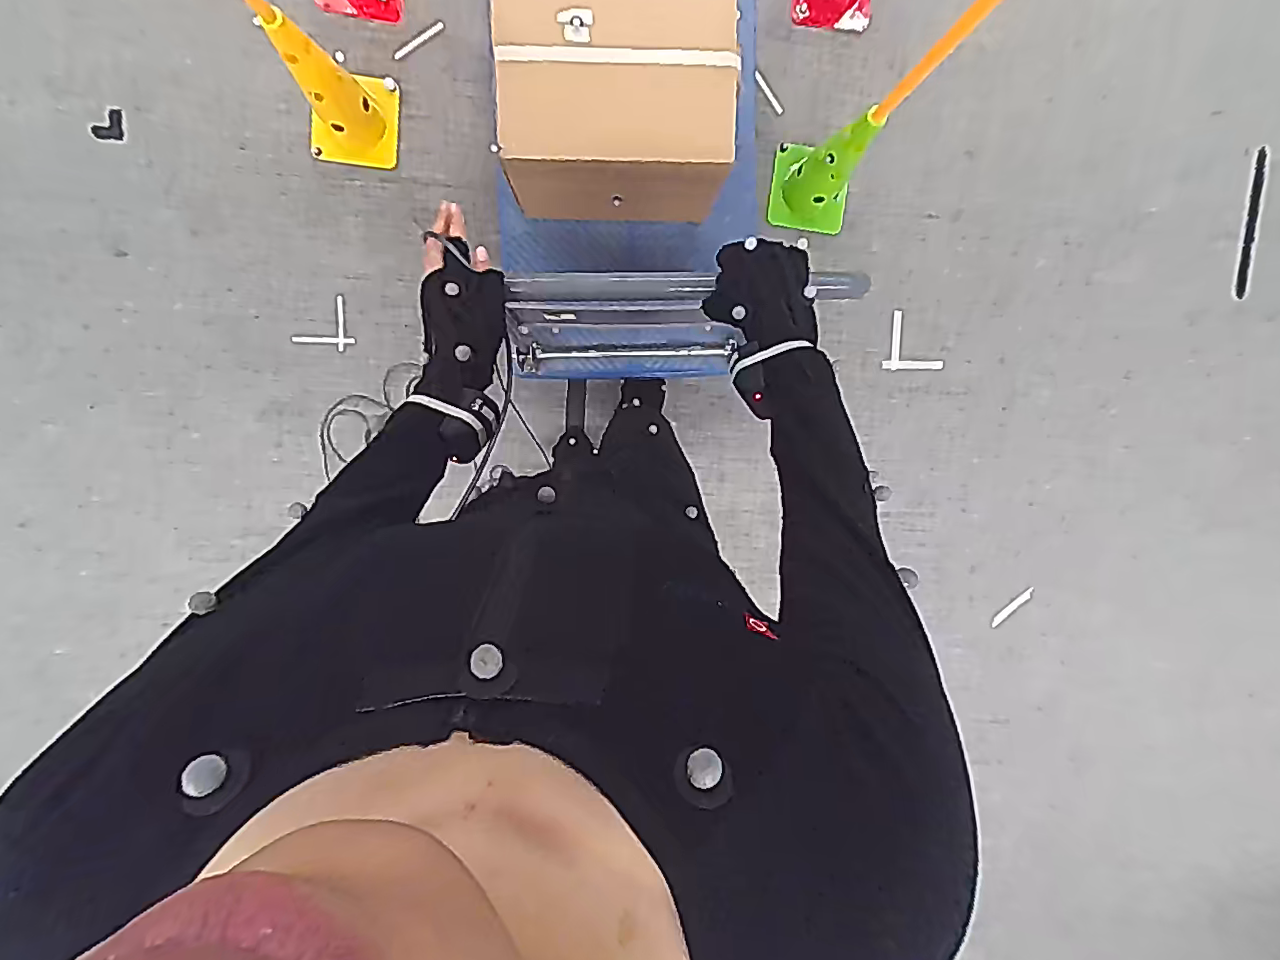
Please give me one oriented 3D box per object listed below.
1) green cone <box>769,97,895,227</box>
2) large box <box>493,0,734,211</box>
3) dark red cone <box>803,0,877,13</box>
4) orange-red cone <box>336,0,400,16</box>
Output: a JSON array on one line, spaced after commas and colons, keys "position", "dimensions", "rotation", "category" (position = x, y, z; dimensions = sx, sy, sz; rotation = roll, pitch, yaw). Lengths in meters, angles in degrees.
[{"position": [0.454, -0.744, 1.223], "dimensions": [0.202, 0.368, 0.200], "rotation": [6, 98, -6], "category": "green cone"}, {"position": [-0.046, -0.728, 1.043], "dimensions": [0.408, 0.320, 0.320], "rotation": [-1, 98, -3], "category": "large box"}, {"position": [0.500, -1.220, 1.141], "dimensions": [0.201, 0.394, 0.202], "rotation": [2, 98, -6], "category": "dark red cone"}, {"position": [-0.632, -1.180, 1.083], "dimensions": [0.198, 0.360, 0.199], "rotation": [10, 96, -7], "category": "orange-red cone"}]
